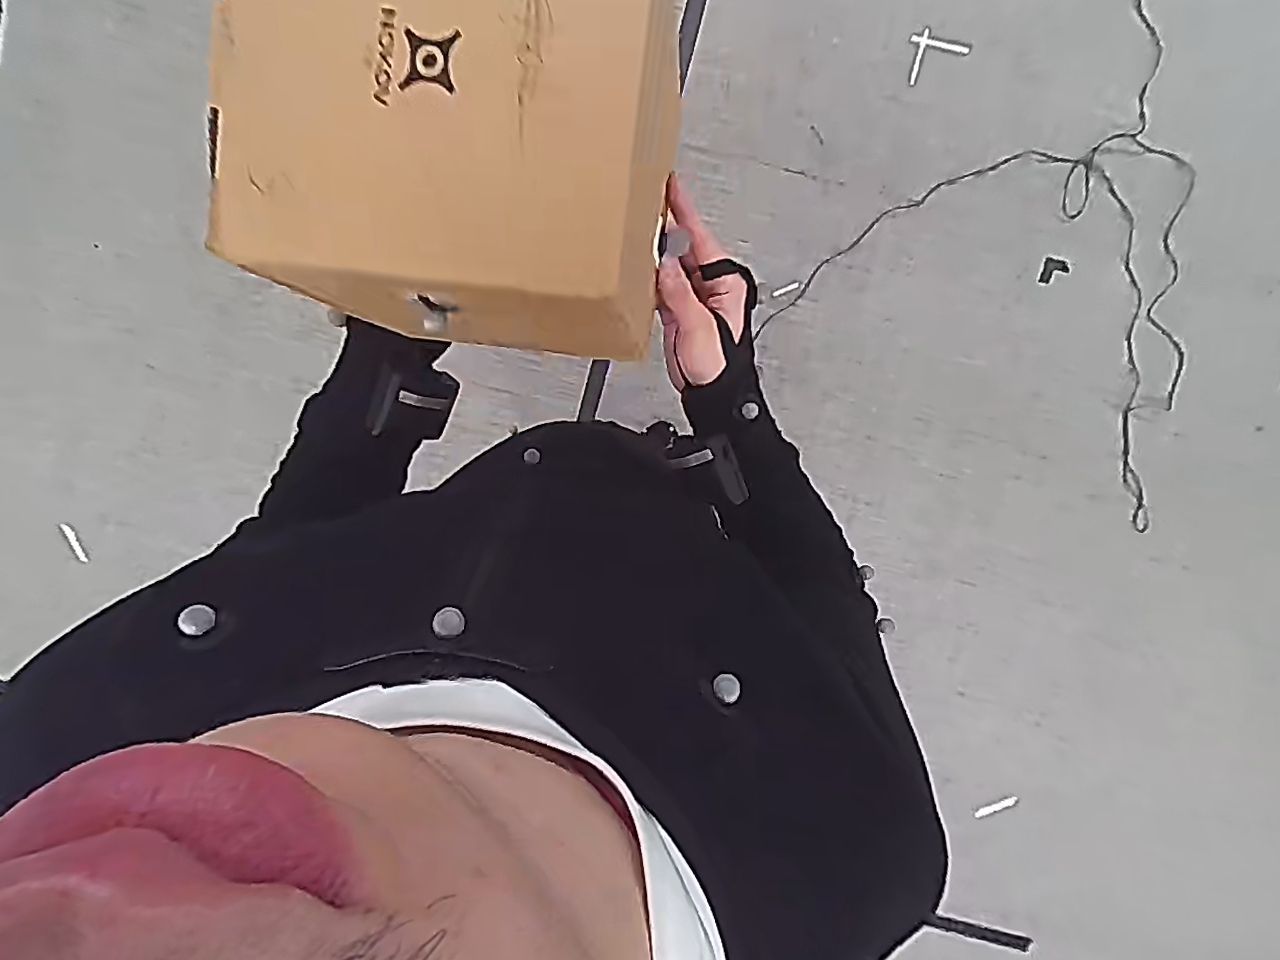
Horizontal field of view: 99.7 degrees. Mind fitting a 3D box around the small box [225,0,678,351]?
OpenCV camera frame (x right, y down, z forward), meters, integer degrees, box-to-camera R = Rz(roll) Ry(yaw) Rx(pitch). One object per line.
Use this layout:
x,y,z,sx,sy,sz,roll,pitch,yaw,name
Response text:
-0.077,-0.173,0.301,0.179,0.176,0.168,7,94,5,small box
